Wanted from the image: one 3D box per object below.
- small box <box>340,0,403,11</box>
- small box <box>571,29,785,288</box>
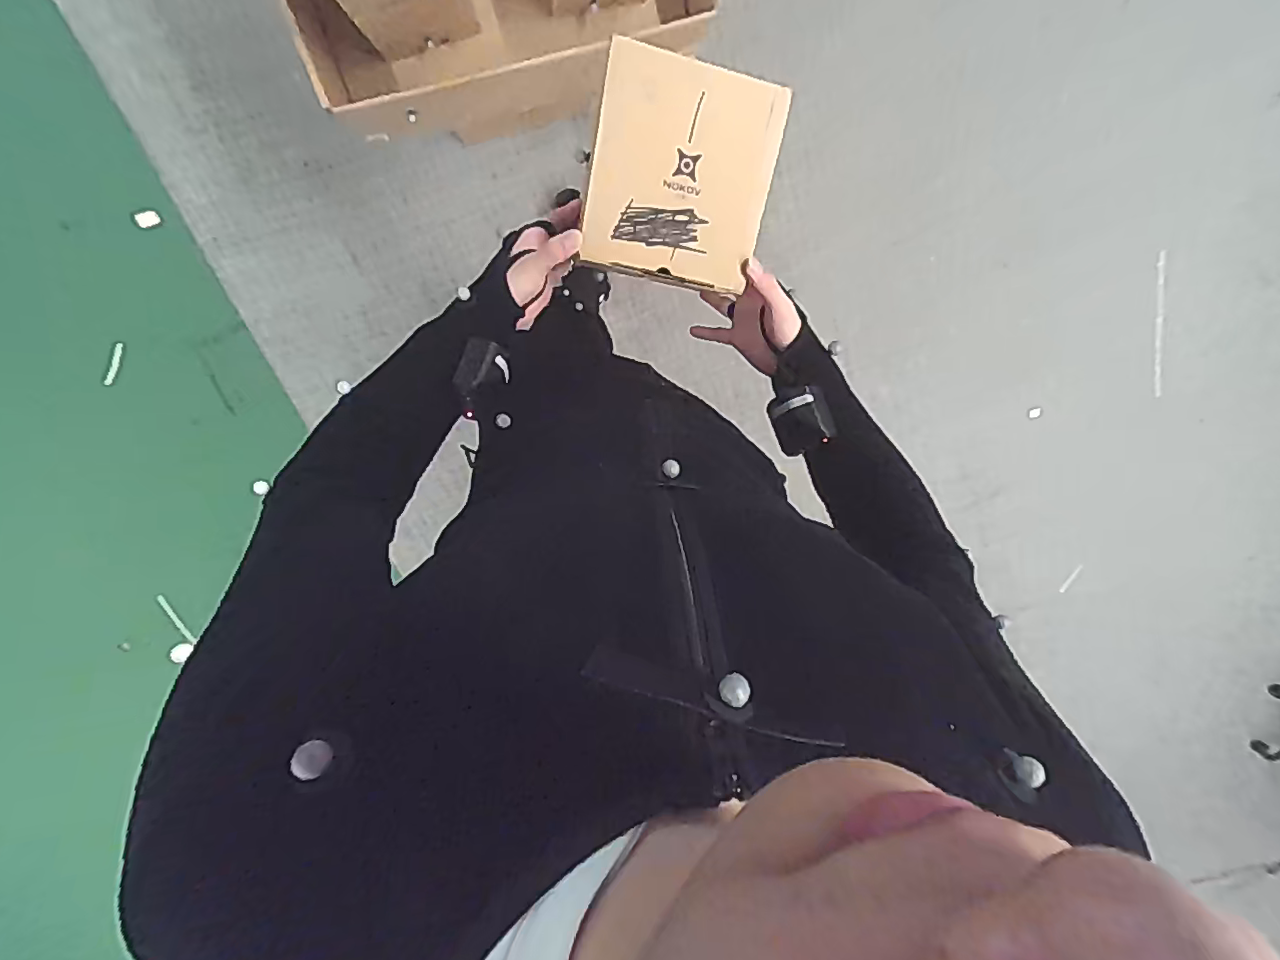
[{"bbox_3d":[-0.325,-0.693,0.631,0.168,0.176,0.179,-17,114,-2],"label":"small box"},{"bbox_3d":[0.023,-0.307,0.560,0.168,0.176,0.179,8,109,-12],"label":"small box"}]
